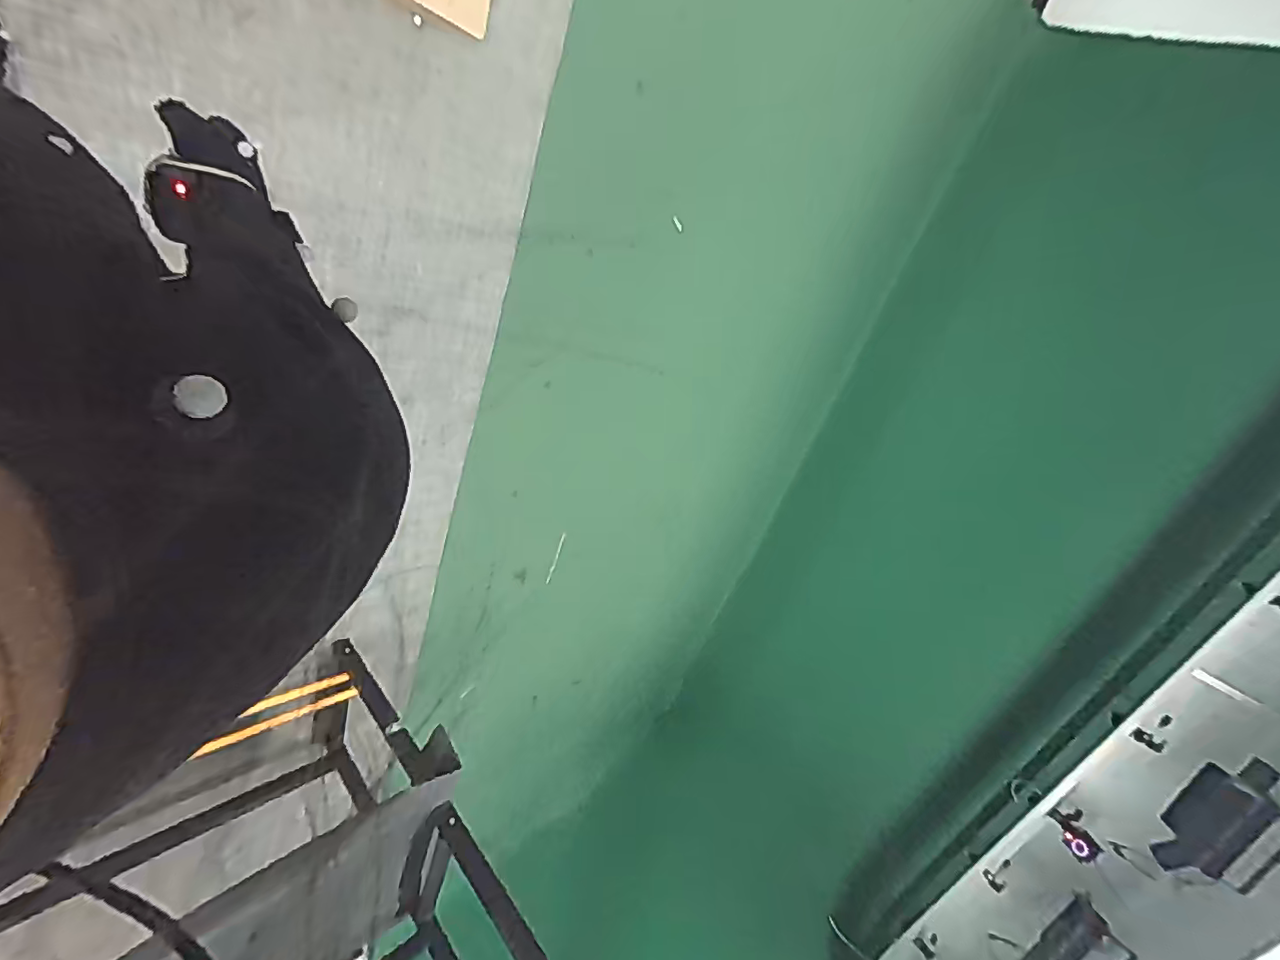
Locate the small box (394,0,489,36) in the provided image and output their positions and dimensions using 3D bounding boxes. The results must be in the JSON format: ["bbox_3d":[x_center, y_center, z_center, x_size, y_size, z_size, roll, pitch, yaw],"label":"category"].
[{"bbox_3d":[-0.417,-1.056,1.100,0.168,0.176,0.179,-10,130,-50],"label":"small box"}]
